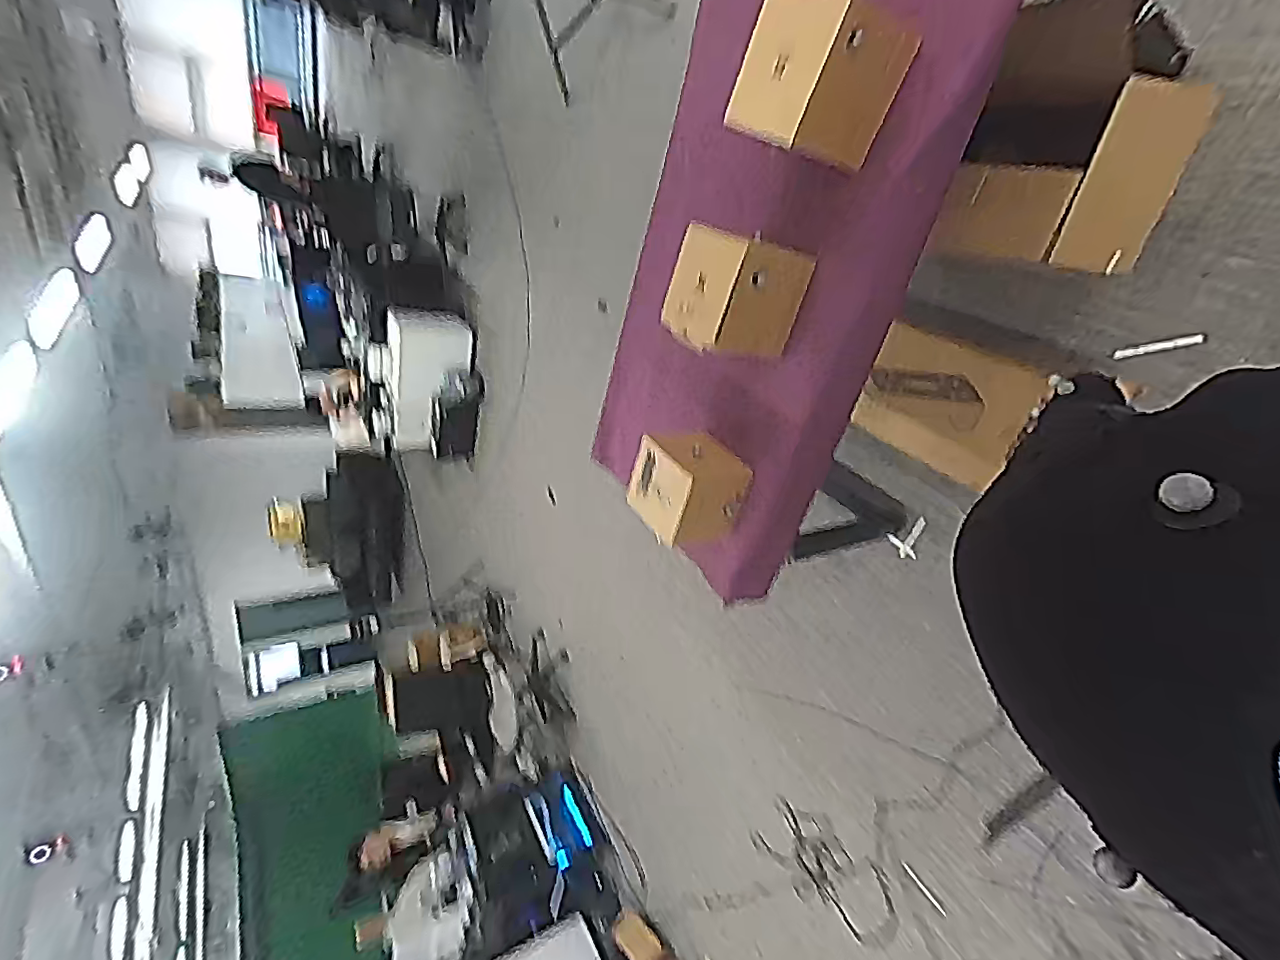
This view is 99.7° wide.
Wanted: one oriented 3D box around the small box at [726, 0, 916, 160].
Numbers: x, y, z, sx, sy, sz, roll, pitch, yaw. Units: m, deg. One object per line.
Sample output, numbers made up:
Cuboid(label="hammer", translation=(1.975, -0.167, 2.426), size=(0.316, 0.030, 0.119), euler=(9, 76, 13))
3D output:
Cuboid(label="small box", translation=(0.266, -0.603, 0.802), size=(0.168, 0.176, 0.179), euler=(52, 134, 37))

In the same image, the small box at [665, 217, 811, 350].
Cuboid(label="small box", translation=(0.176, -0.348, 0.970), size=(0.168, 0.176, 0.179), euler=(47, 132, 44))
